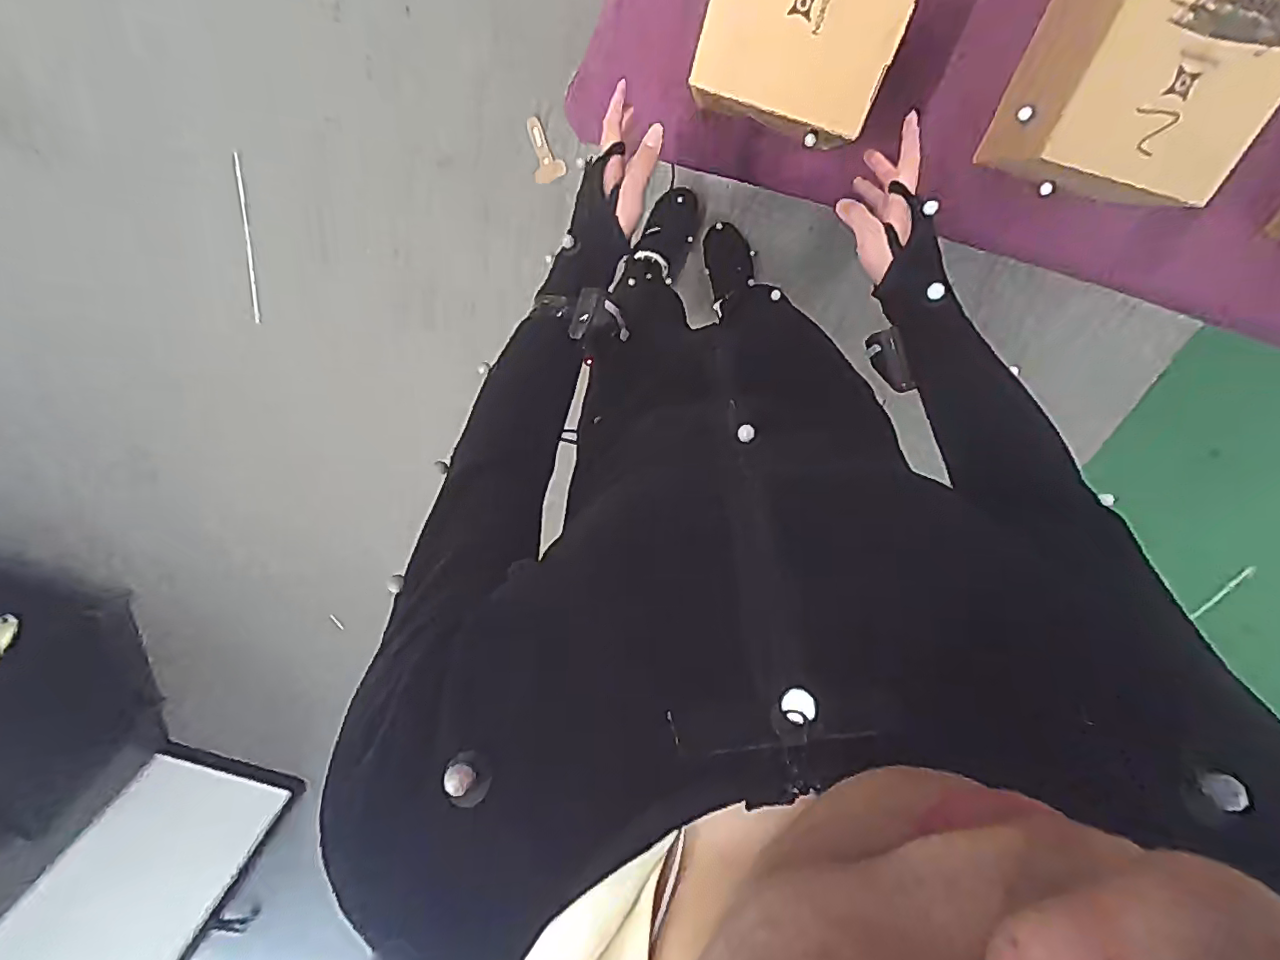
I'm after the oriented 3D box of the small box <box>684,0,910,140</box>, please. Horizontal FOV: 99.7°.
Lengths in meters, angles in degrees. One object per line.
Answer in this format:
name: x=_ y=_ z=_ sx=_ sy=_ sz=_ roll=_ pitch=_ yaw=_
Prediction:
small box: x=0.154 y=-0.457 z=0.540 sx=0.179 sy=0.176 sz=0.168 roll=17 pitch=120 yaw=-1
